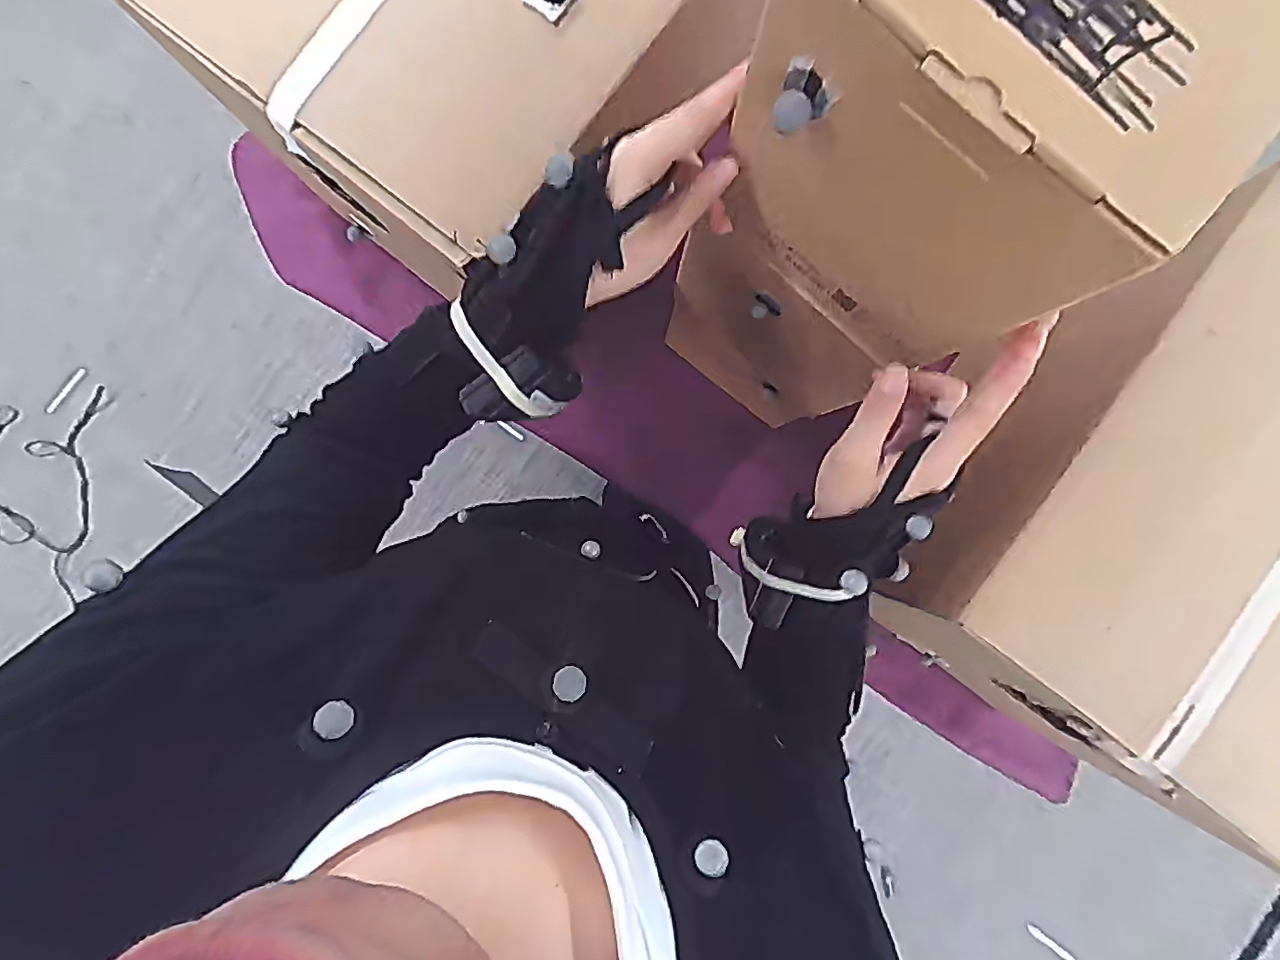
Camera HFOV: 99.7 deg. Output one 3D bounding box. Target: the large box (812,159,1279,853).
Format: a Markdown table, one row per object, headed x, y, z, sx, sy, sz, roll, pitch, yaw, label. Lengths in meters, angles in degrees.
| x | y | z | sx | sy | sz | roll | pitch | yaw | label |
| --- | --- | --- | --- | --- | --- | --- | --- | --- | --- |
| 0.442 | 0.027 | 0.519 | 0.320 | 0.320 | 0.408 | 36 | 86 | -2 | large box |
